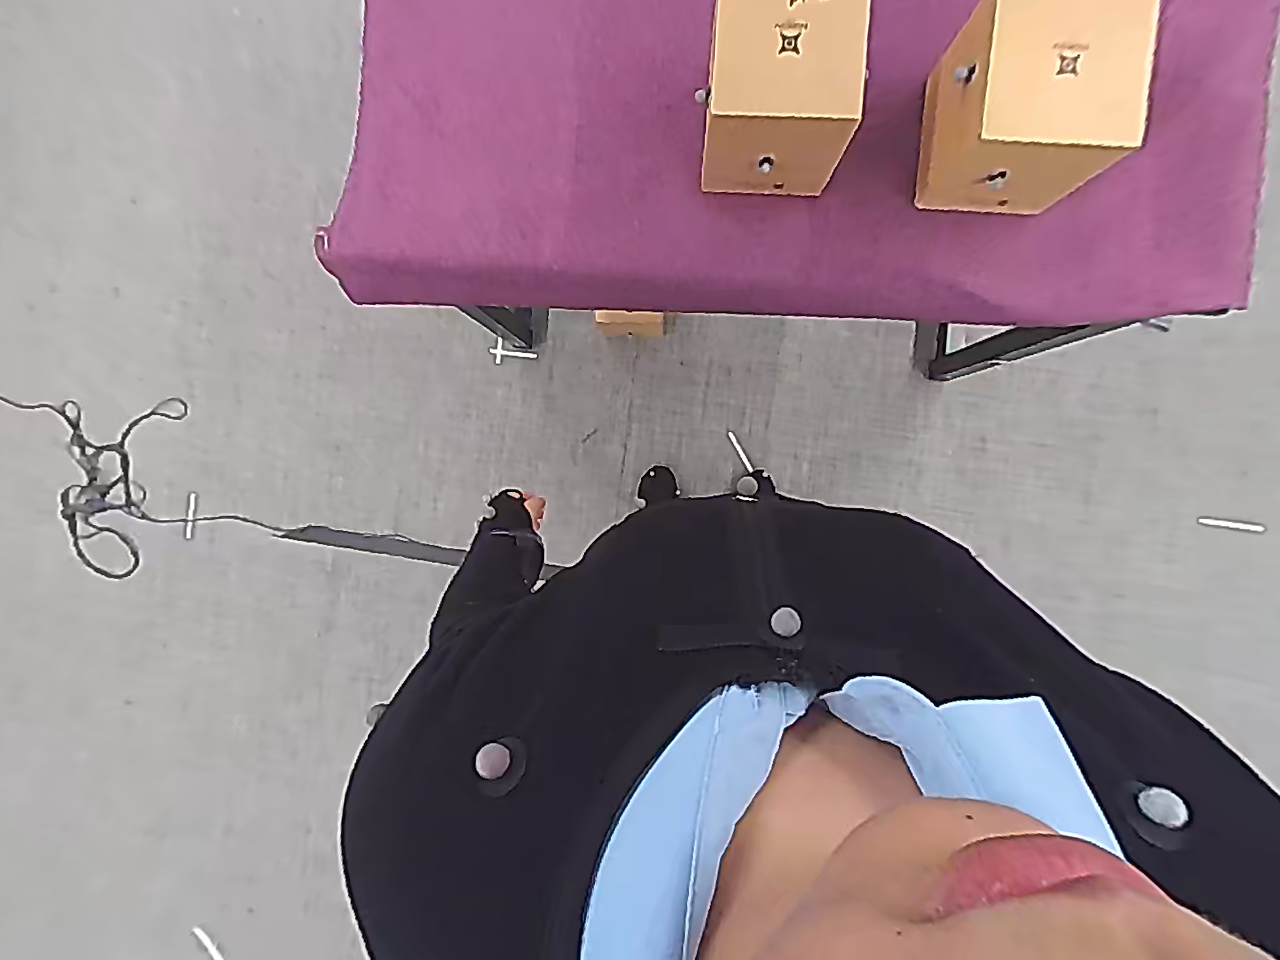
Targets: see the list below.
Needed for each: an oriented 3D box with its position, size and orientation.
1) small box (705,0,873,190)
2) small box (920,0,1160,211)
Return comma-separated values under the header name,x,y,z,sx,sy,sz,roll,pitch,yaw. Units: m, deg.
name,x,y,z,sx,sy,sz,roll,pitch,yaw
small box,0.172,-0.487,0.670,0.168,0.176,0.179,4,91,3
small box,0.461,-0.449,0.653,0.168,0.176,0.179,5,92,4
